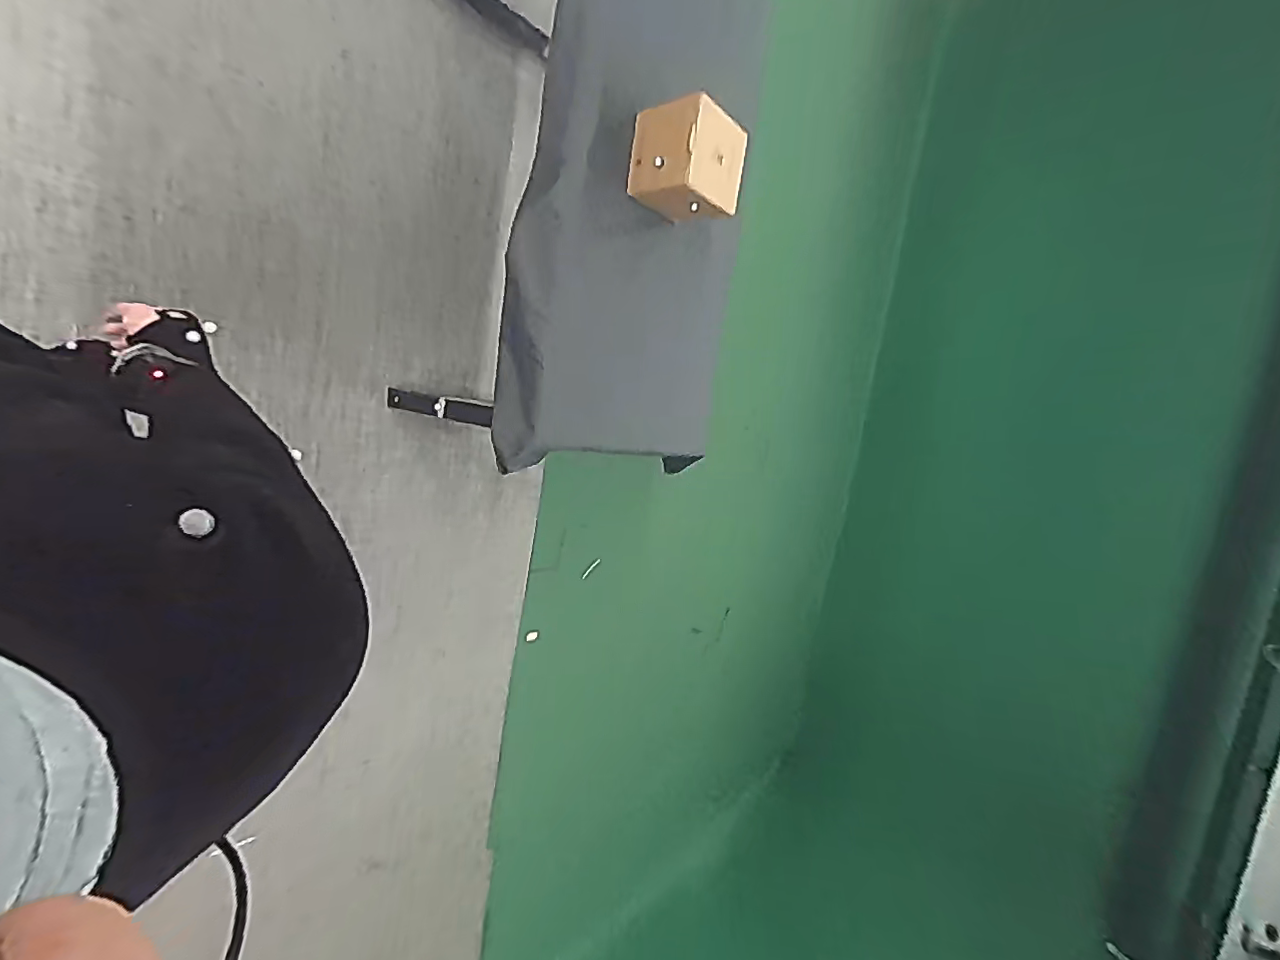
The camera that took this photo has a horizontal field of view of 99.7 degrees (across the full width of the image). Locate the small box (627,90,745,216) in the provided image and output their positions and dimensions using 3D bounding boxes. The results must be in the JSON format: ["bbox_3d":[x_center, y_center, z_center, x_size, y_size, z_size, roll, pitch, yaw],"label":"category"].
[{"bbox_3d":[0.094,-0.675,1.144,0.179,0.176,0.168,-1,104,-50],"label":"small box"}]
